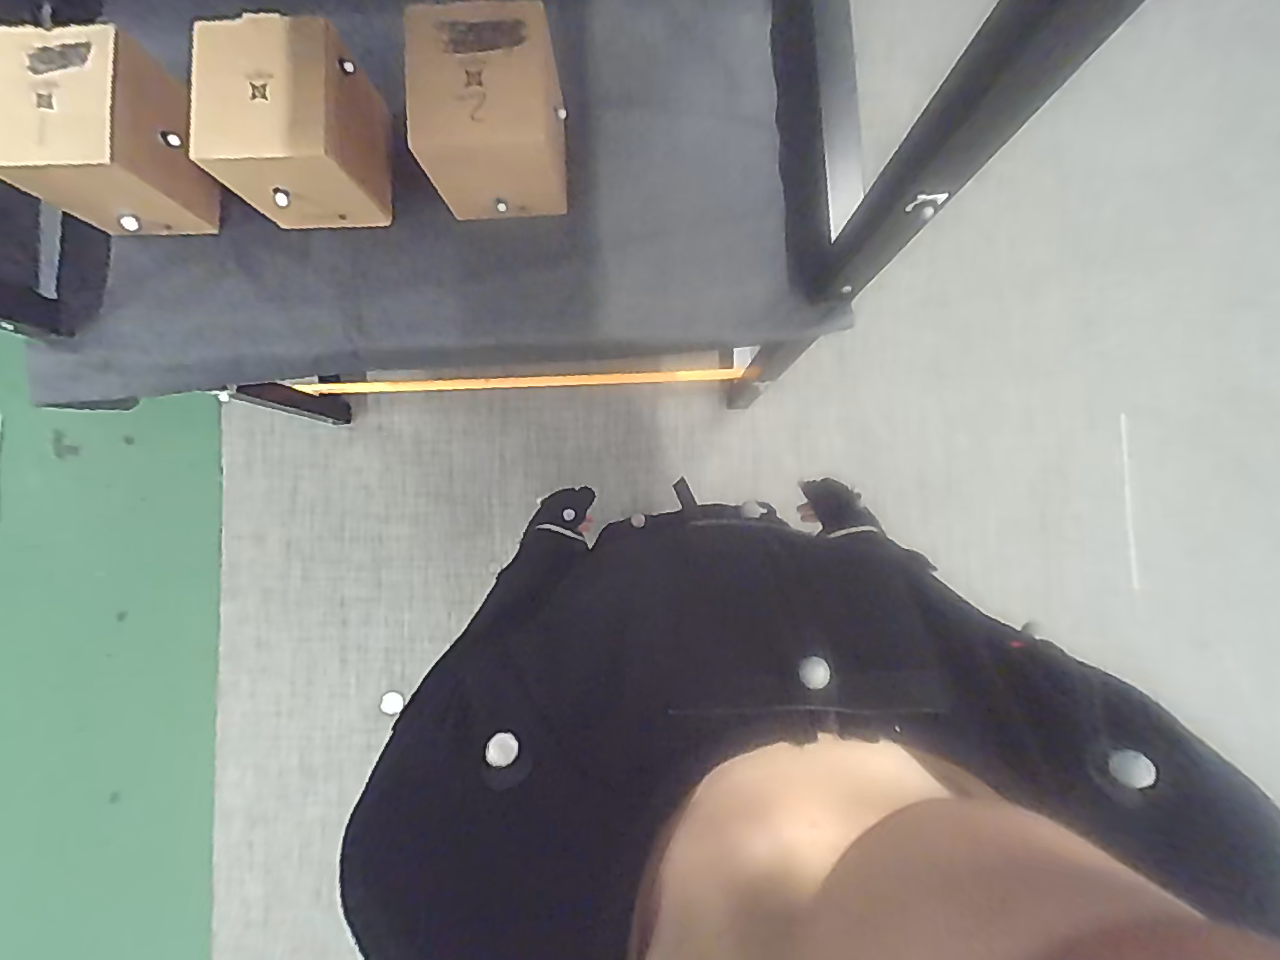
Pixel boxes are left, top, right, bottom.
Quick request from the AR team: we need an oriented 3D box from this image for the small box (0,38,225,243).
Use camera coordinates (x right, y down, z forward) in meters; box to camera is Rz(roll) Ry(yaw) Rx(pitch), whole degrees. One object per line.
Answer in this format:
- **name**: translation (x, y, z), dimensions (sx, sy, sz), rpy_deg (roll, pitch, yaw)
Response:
- **small box**: translation (-0.704, -0.447, 0.734), dimensions (0.168, 0.176, 0.179), rpy_deg (-1, 87, 1)

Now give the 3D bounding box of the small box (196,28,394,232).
- **small box**: translation (-0.451, -0.455, 0.732), dimensions (0.168, 0.176, 0.179), rpy_deg (-1, 86, 1)
